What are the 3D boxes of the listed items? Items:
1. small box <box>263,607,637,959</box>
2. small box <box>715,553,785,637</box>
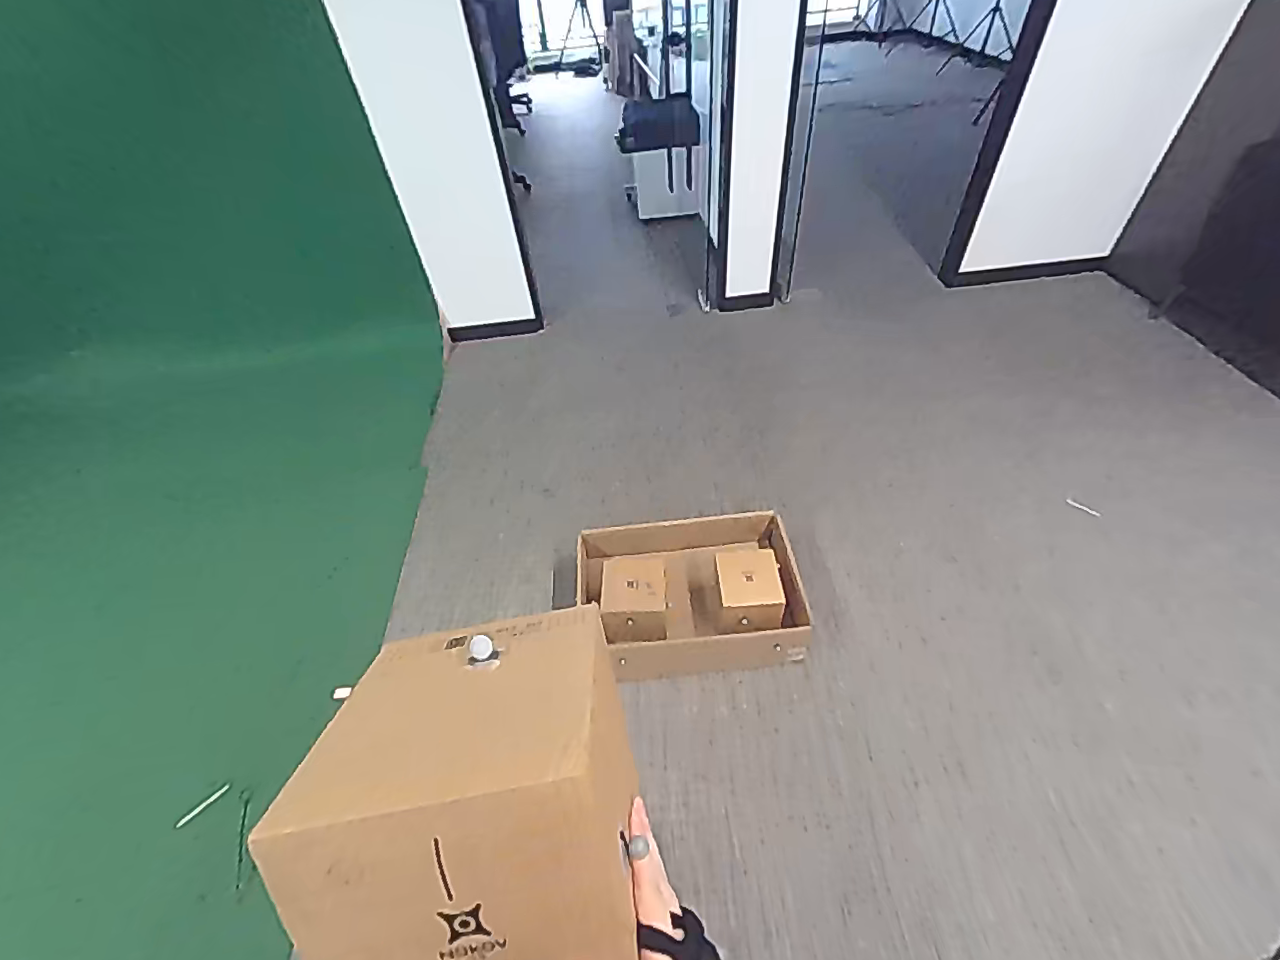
[{"bbox_3d":[-0.094,0.212,0.363,0.168,0.179,0.176,-11,14,0],"label":"small box"},{"bbox_3d":[0.303,0.329,1.519,0.168,0.176,0.179,-4,46,2],"label":"small box"}]
